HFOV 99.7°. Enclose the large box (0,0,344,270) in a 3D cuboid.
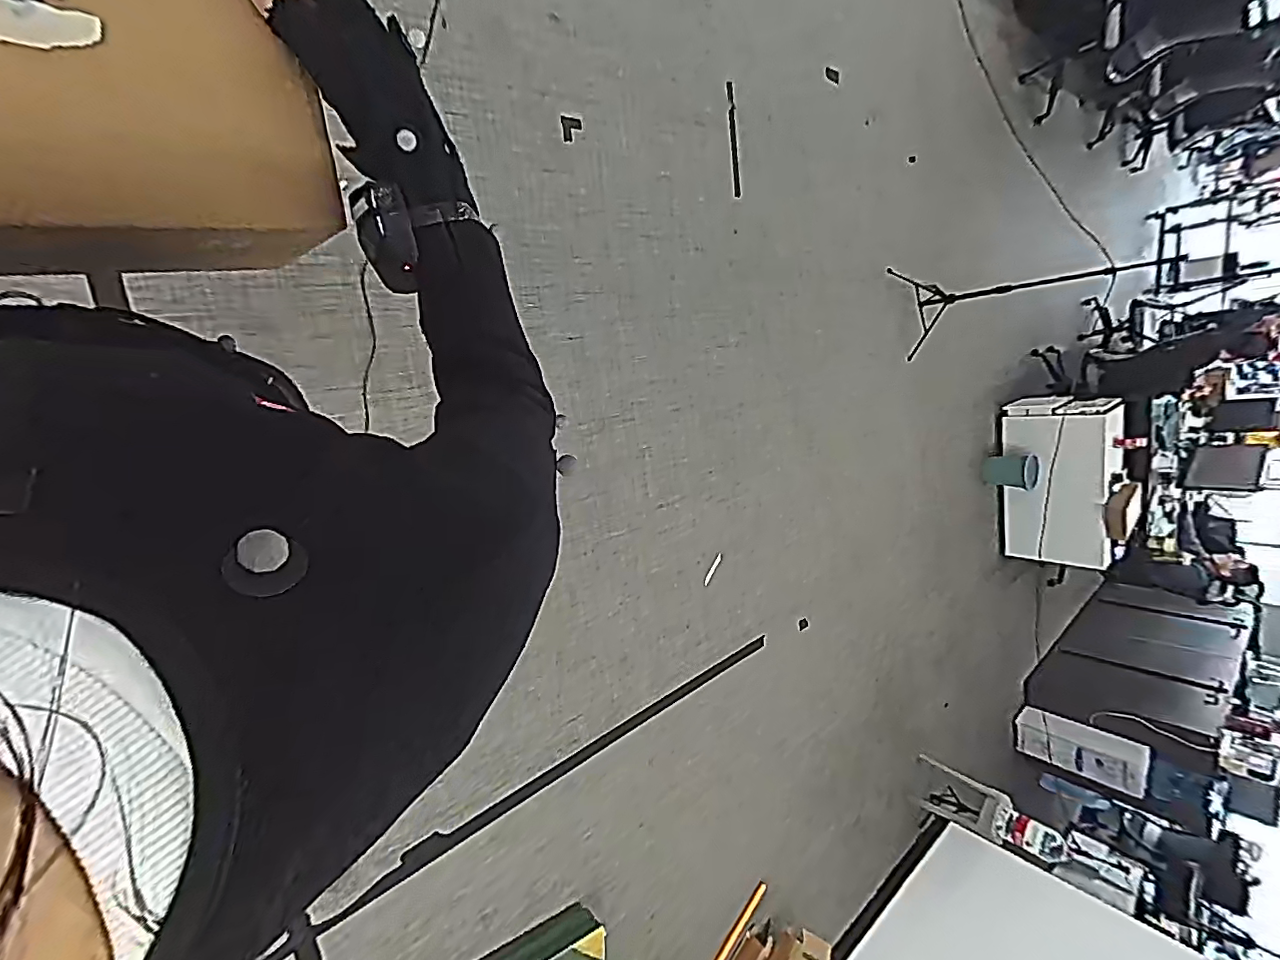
[{"bbox_3d":[-0.486,-0.315,0.355,0.408,0.320,0.320,-21,116,-37],"label":"large box"}]
